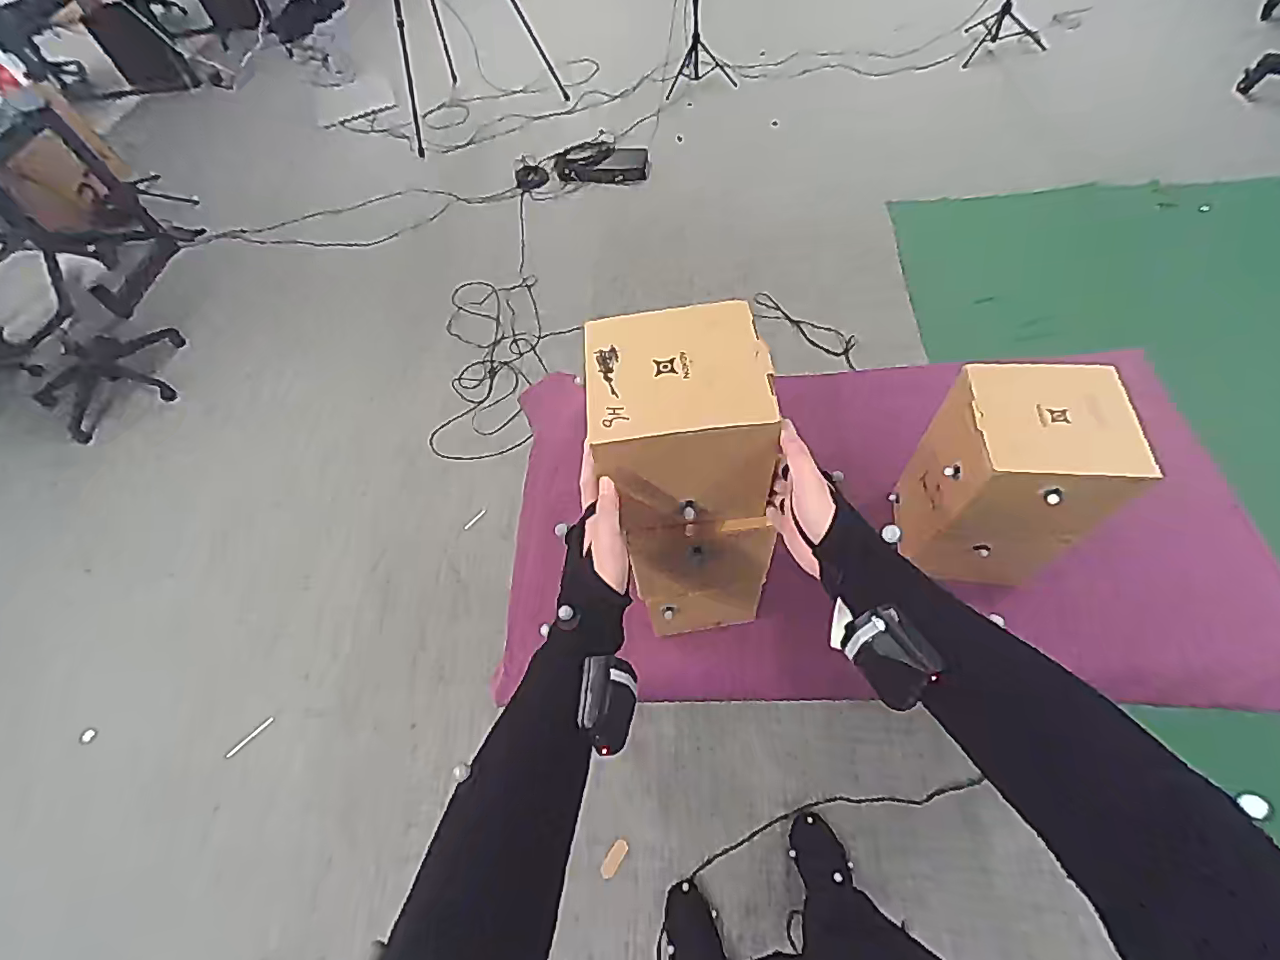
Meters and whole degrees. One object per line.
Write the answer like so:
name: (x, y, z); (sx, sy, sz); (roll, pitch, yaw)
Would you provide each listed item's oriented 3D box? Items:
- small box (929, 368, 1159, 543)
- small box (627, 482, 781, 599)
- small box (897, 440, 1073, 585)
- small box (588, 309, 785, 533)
small box: (0.500, -0.028, 0.709); (0.179, 0.176, 0.168); (3, 60, 9)
small box: (0.073, 0.045, 0.715); (0.179, 0.176, 0.168); (-8, 57, 2)
small box: (0.518, 0.055, 0.848); (0.179, 0.176, 0.168); (4, 59, 9)
small box: (0.042, -0.057, 0.584); (0.179, 0.176, 0.168); (-6, 55, 2)
